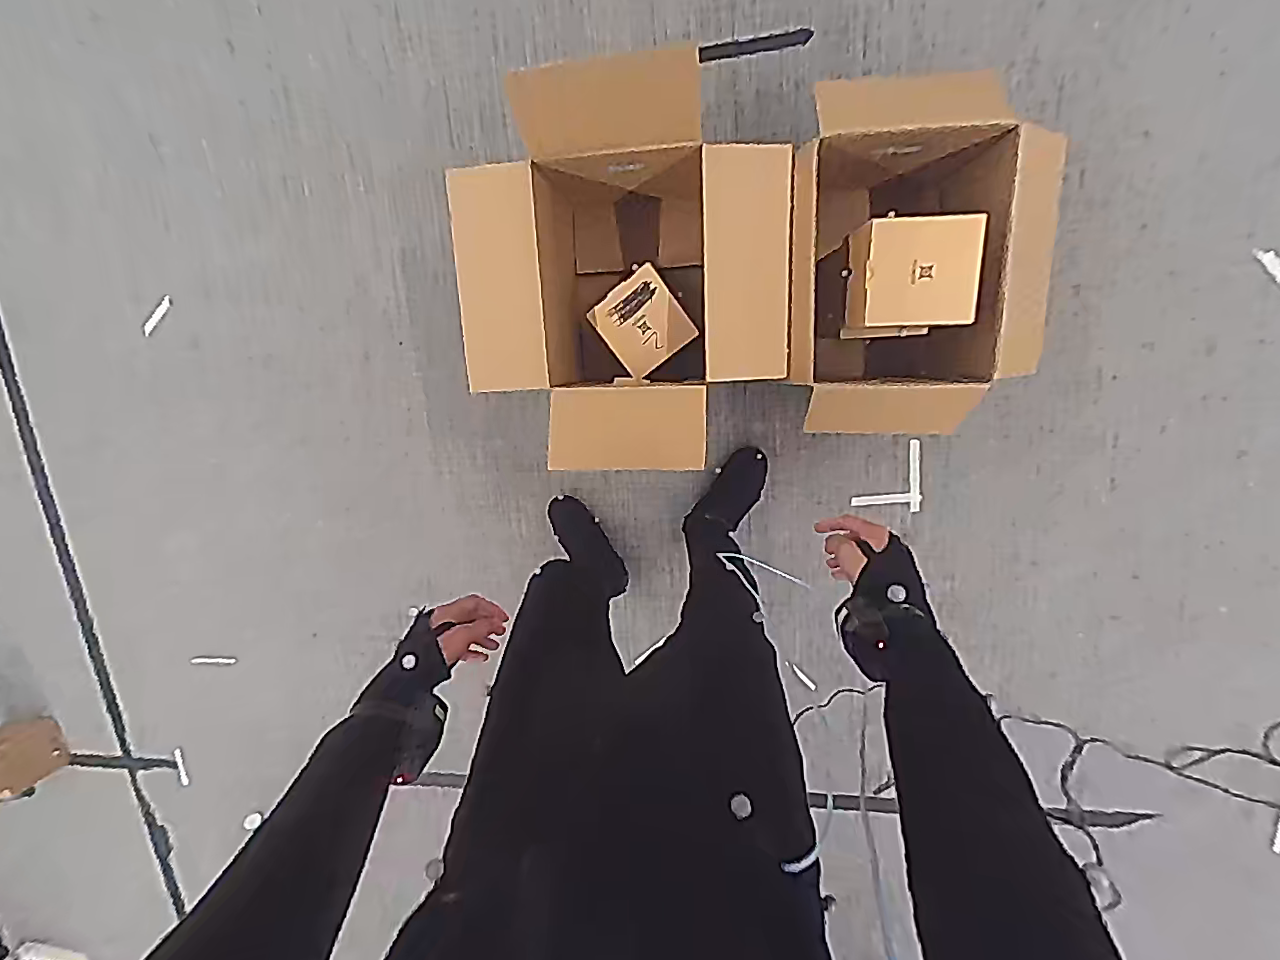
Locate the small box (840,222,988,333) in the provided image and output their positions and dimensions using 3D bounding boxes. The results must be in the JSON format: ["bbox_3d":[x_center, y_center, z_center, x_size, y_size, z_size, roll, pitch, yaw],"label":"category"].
[{"bbox_3d":[0.463,-0.344,0.940,0.179,0.176,0.168,0,105,7],"label":"small box"}]
